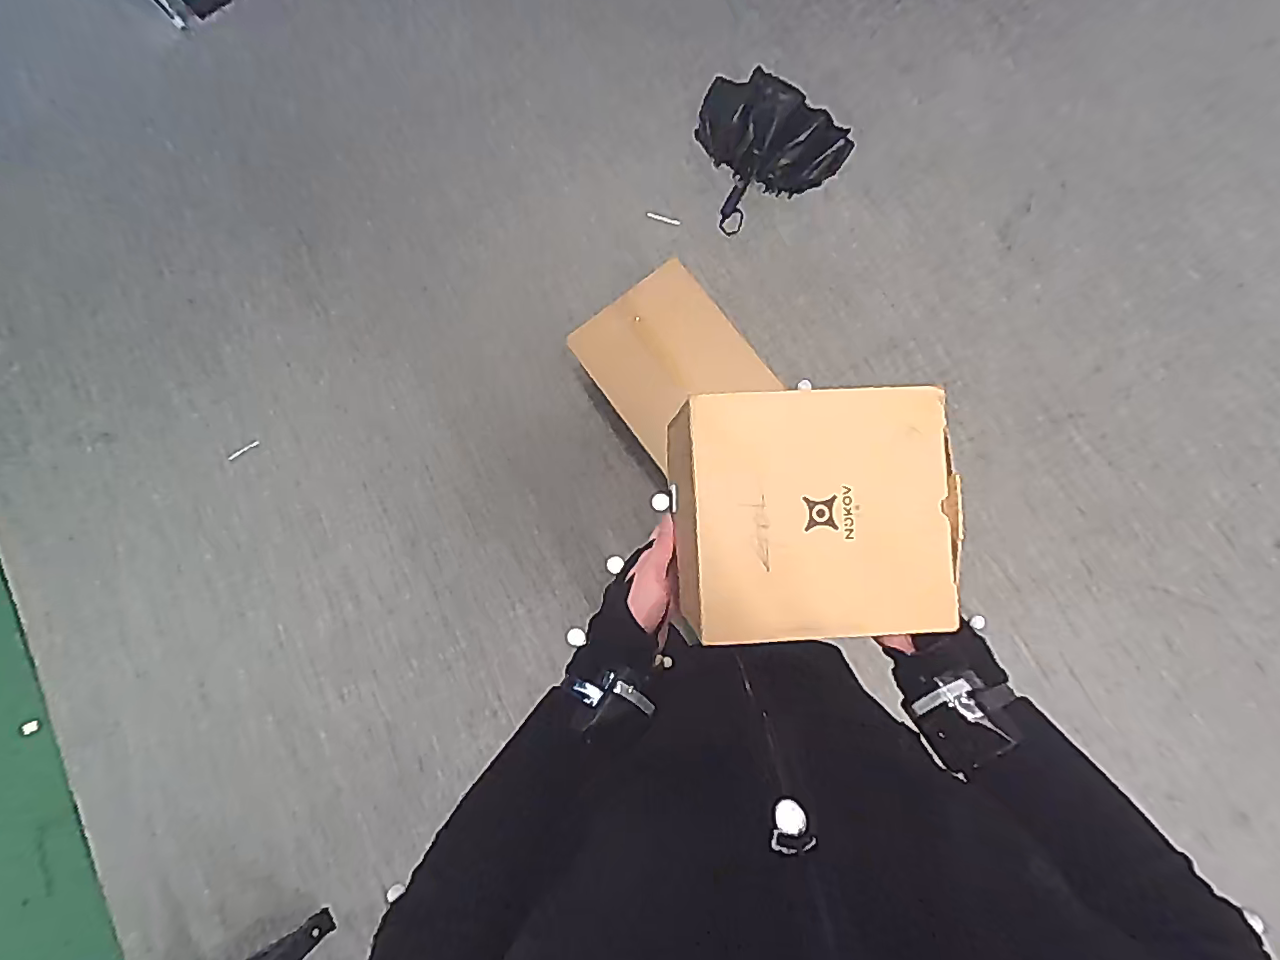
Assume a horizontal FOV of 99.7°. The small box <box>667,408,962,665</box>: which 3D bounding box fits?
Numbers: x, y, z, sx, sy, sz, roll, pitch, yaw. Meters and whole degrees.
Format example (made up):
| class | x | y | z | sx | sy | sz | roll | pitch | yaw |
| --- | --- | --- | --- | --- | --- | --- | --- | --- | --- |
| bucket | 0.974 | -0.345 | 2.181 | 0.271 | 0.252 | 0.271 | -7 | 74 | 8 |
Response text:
| class | x | y | z | sx | sy | sz | roll | pitch | yaw |
| --- | --- | --- | --- | --- | --- | --- | --- | --- | --- |
| small box | 0.120 | 0.040 | 0.437 | 0.179 | 0.176 | 0.168 | -3 | 86 | -2 |
